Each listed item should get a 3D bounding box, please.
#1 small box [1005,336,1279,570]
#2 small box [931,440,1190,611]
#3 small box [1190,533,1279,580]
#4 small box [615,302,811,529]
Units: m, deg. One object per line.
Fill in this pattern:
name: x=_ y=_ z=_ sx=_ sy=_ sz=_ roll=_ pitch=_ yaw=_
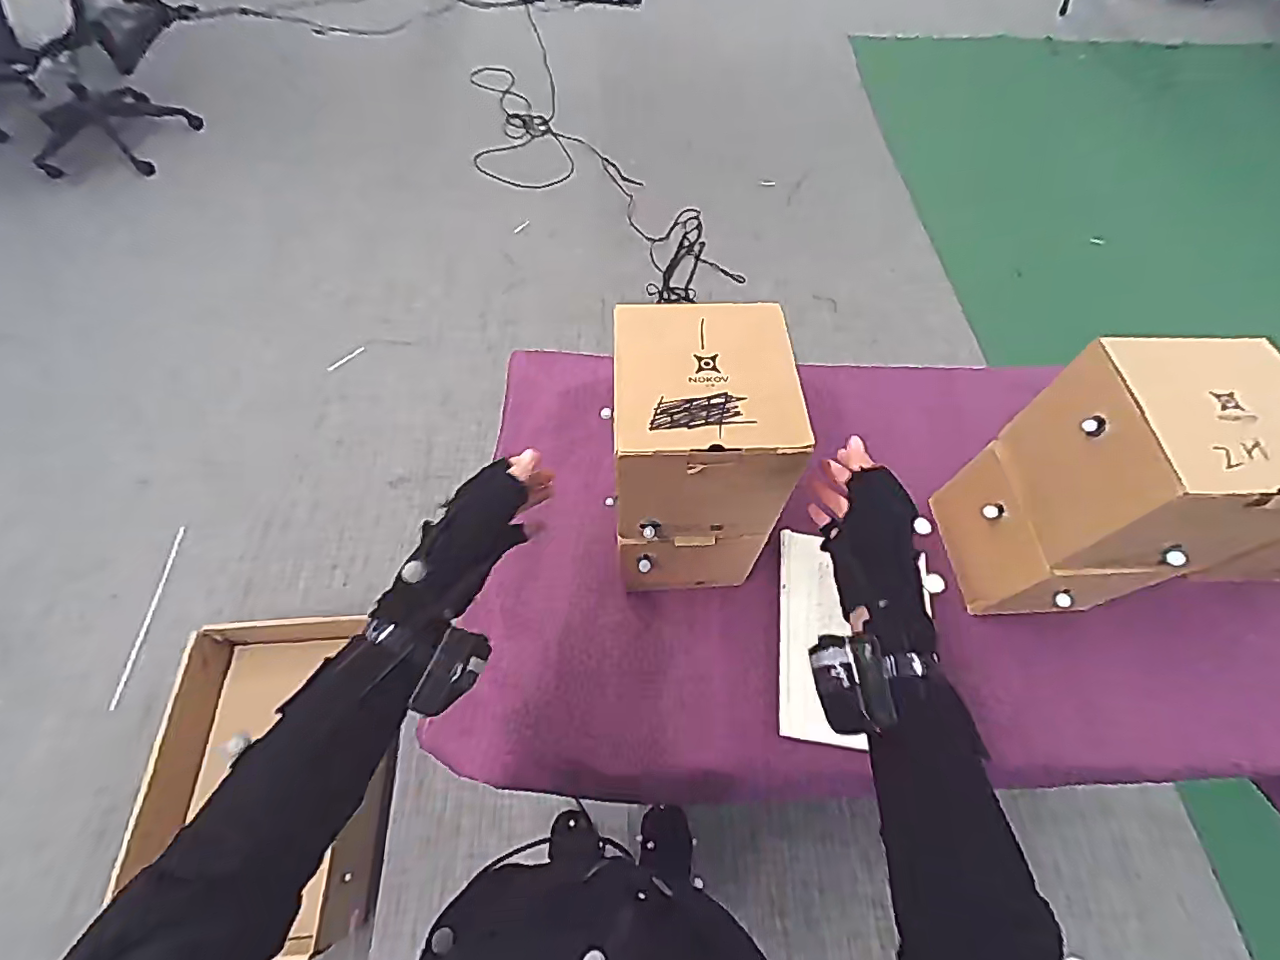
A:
small box: x=0.518 y=-0.022 z=0.551 sx=0.168 sy=0.176 sz=0.179 roll=1 pitch=61 yaw=0
small box: x=0.512 y=0.064 z=0.692 sx=0.168 sy=0.176 sz=0.179 roll=-2 pitch=60 yaw=-2
small box: x=0.830 y=0.027 z=0.718 sx=0.168 sy=0.176 sz=0.179 roll=1 pitch=61 yaw=-1
small box: x=0.059 y=-0.058 z=0.555 sx=0.168 sy=0.176 sz=0.179 roll=-1 pitch=59 yaw=-2
